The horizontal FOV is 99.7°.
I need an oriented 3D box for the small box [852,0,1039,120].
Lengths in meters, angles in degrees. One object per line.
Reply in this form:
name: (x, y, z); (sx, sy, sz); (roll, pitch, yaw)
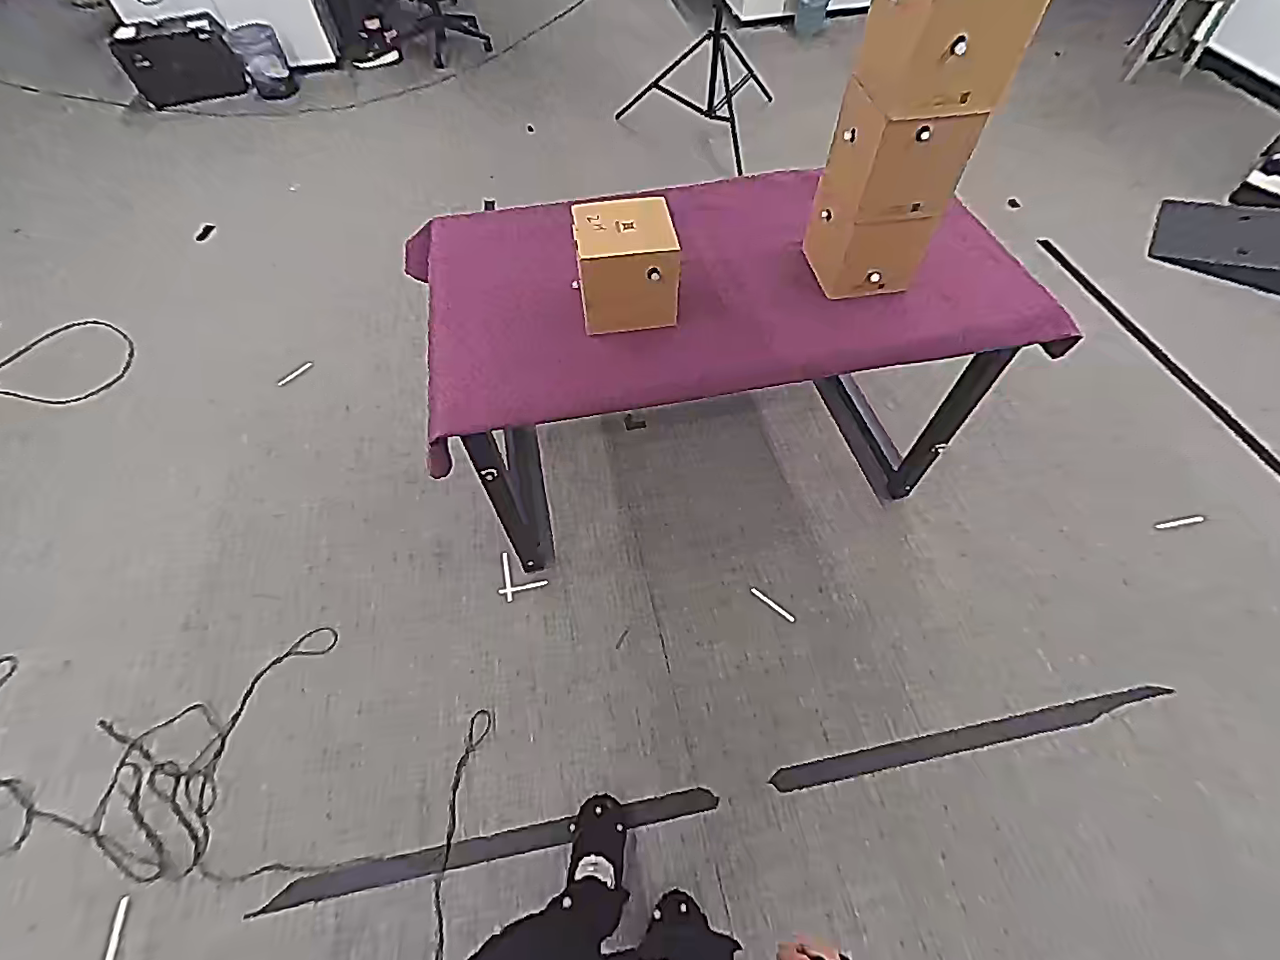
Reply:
small box: (0.435, -0.648, 0.786); (0.168, 0.176, 0.179); (-7, 57, -3)

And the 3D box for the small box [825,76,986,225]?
small box: (0.436, -0.565, 0.927); (0.168, 0.176, 0.179); (-7, 57, -2)

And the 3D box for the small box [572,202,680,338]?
small box: (-0.028, -0.392, 1.019); (0.179, 0.176, 0.168); (-8, 57, -4)

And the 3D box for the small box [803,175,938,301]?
small box: (0.439, -0.481, 1.067); (0.168, 0.176, 0.179); (-9, 58, -4)
